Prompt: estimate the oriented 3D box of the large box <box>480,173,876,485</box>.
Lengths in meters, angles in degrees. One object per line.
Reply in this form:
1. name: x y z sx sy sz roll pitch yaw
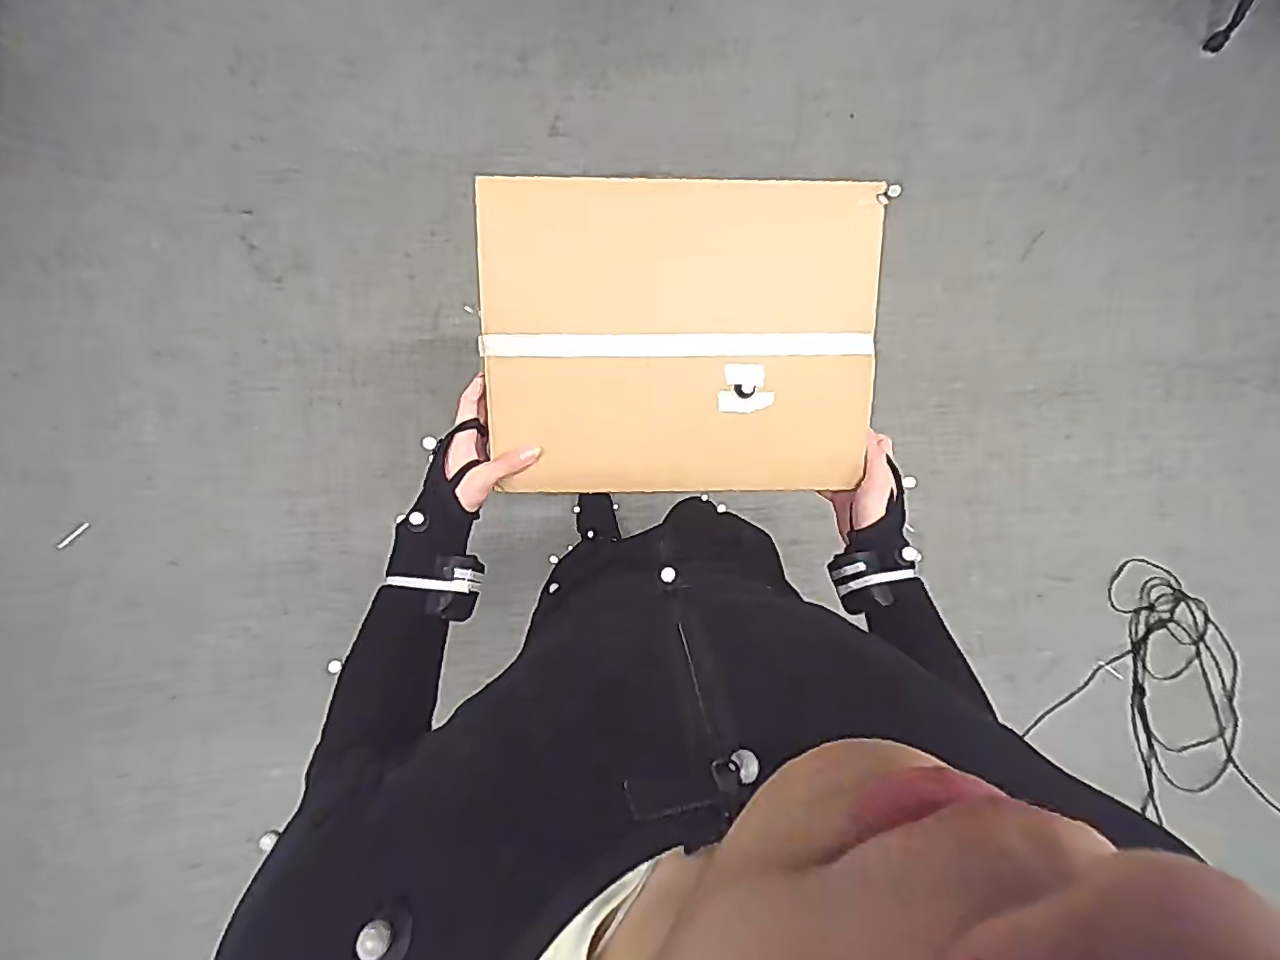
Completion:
1. large box: 0.035 -0.180 0.710 0.408 0.320 0.320 -1 102 -3
